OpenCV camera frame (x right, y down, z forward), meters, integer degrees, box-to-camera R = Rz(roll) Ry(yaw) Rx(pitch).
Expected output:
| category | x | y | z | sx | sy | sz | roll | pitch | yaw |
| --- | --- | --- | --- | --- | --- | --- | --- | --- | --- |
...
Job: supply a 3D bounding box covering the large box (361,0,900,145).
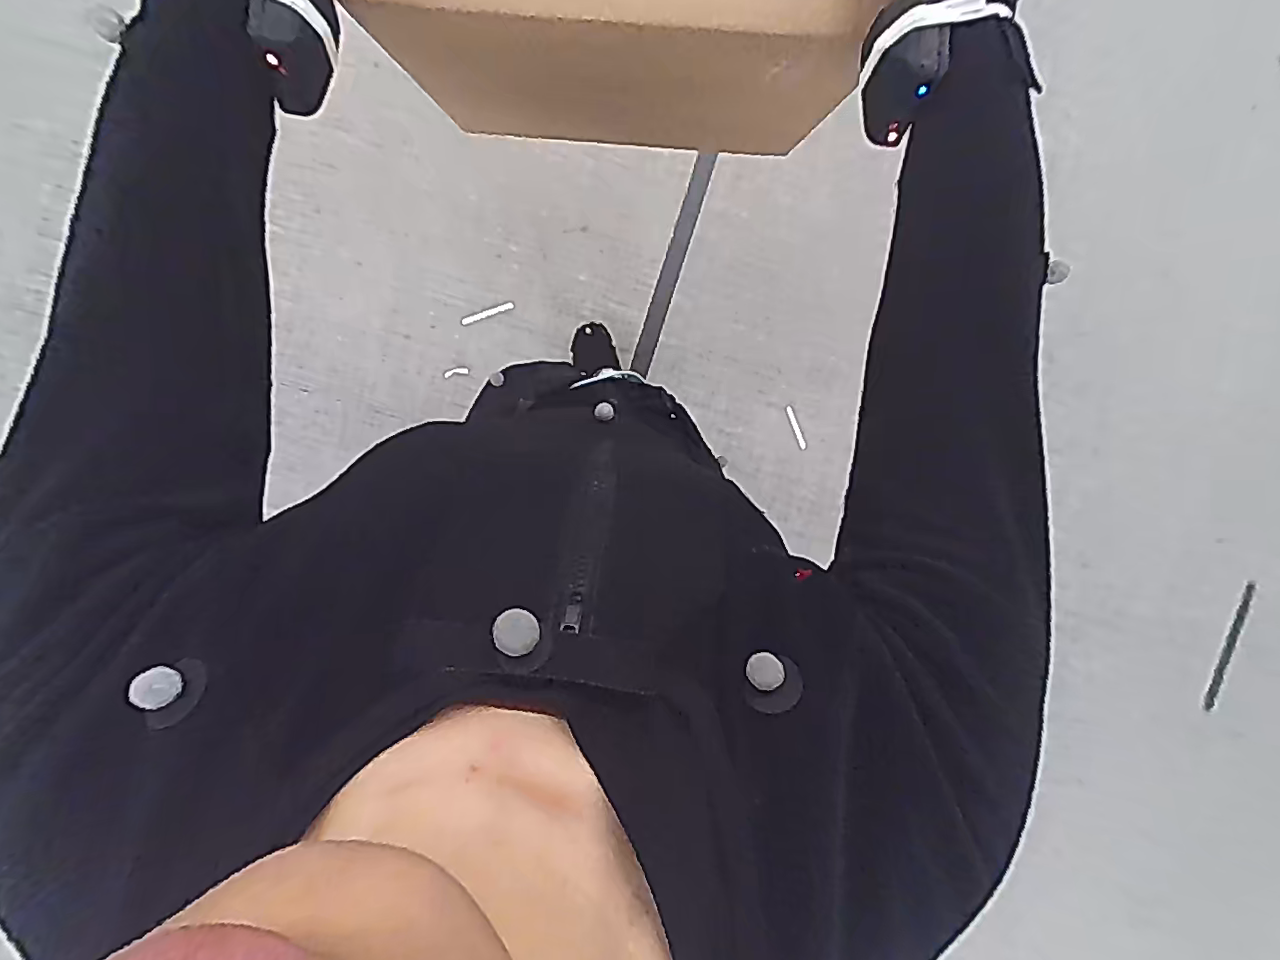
| category | x | y | z | sx | sy | sz | roll | pitch | yaw |
| --- | --- | --- | --- | --- | --- | --- | --- | --- | --- |
| large box | -0.009 | -0.525 | 0.486 | 0.408 | 0.320 | 0.320 | 3 | 108 | -2 |
